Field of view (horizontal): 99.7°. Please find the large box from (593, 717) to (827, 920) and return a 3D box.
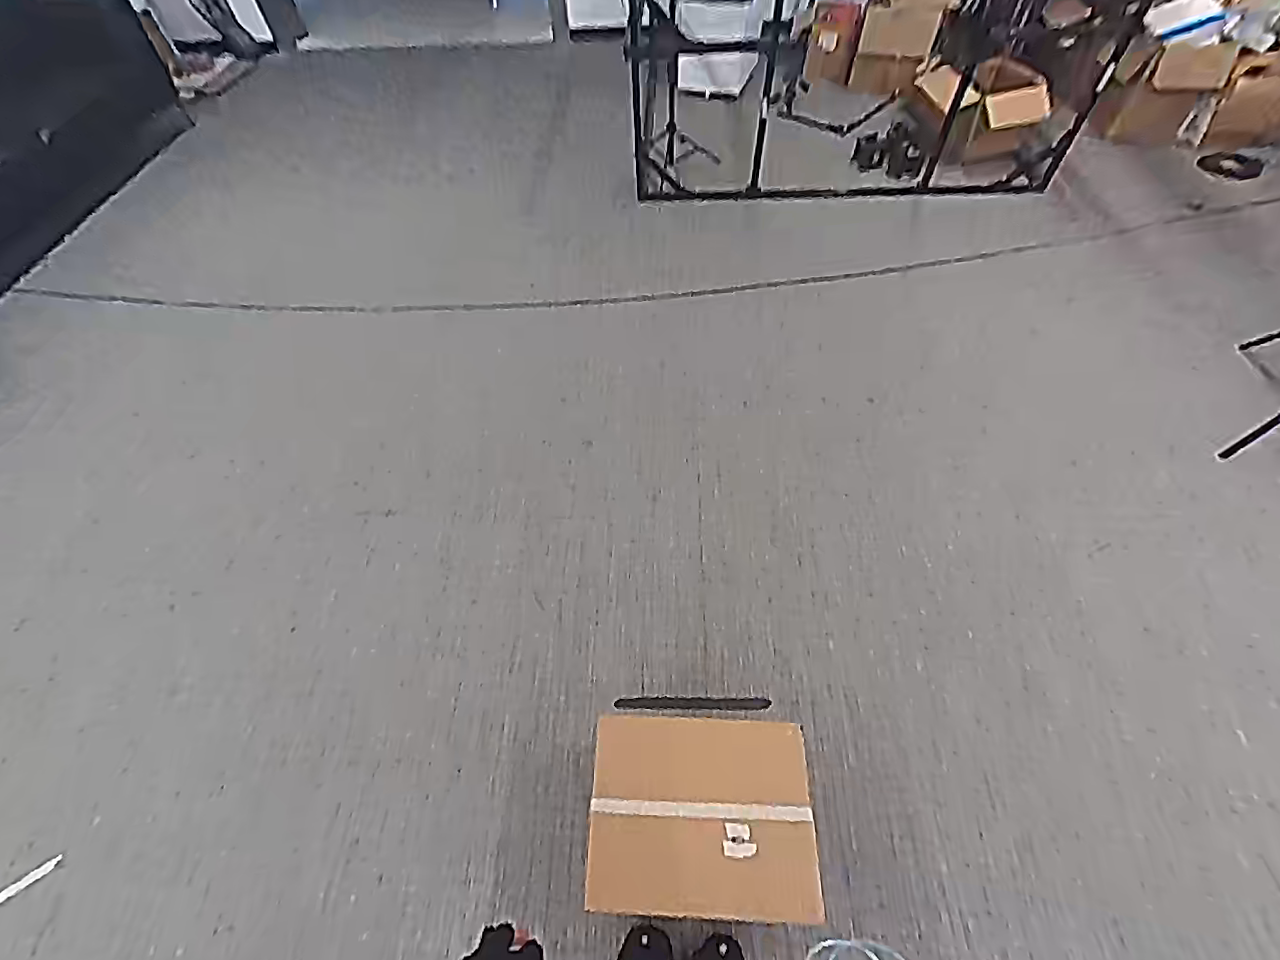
[{"bbox_3d":[0.125,0.695,1.118,0.408,0.320,0.320,1,55,3],"label":"large box"}]
